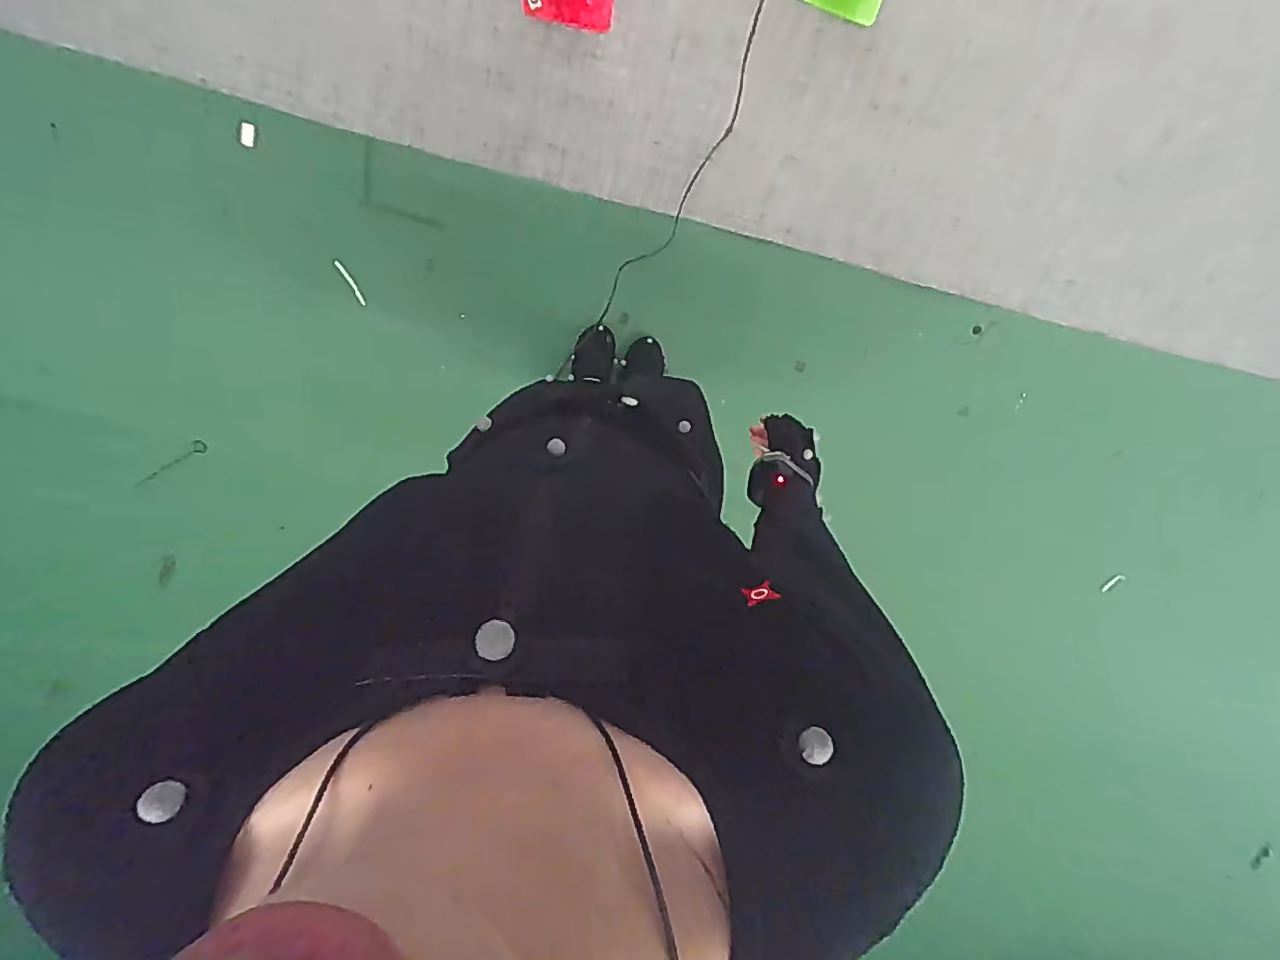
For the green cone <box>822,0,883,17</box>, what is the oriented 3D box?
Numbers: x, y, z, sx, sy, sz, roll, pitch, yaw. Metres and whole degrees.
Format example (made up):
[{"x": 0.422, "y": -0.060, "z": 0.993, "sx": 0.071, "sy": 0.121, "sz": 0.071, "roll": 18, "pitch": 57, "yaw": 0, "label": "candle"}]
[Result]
[{"x": 0.471, "y": -1.100, "z": 1.016, "sx": 0.200, "sy": 0.368, "sz": 0.202, "roll": 15, "pitch": 106, "yaw": -7, "label": "green cone"}]
